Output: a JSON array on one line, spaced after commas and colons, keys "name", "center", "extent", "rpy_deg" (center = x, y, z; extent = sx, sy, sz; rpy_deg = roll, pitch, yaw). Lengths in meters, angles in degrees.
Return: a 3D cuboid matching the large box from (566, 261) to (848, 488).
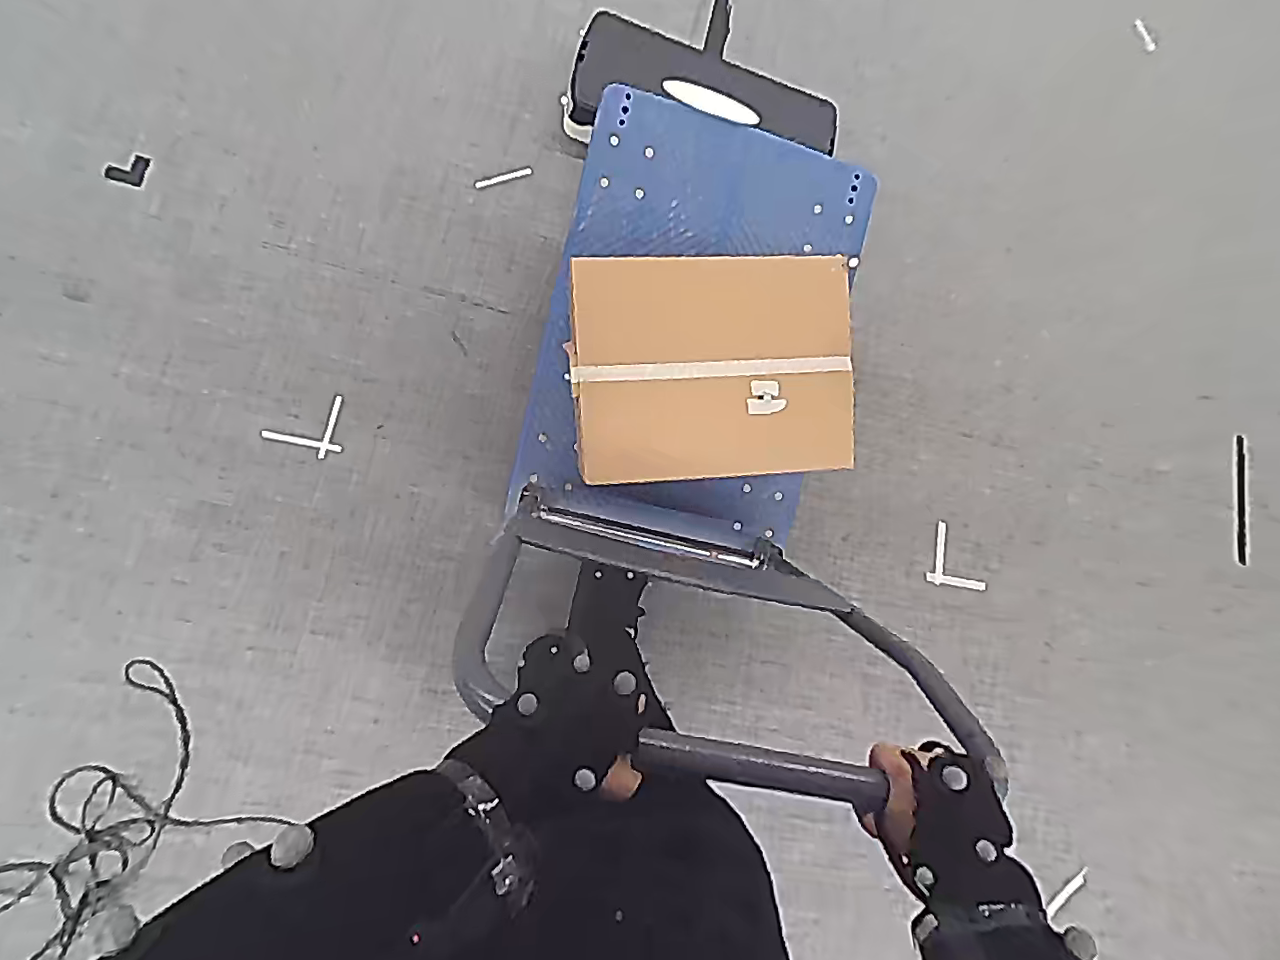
[{"name": "large box", "center": [0.087, -0.166, 0.927], "extent": [0.408, 0.320, 0.320], "rpy_deg": [-4, 95, -9]}]
